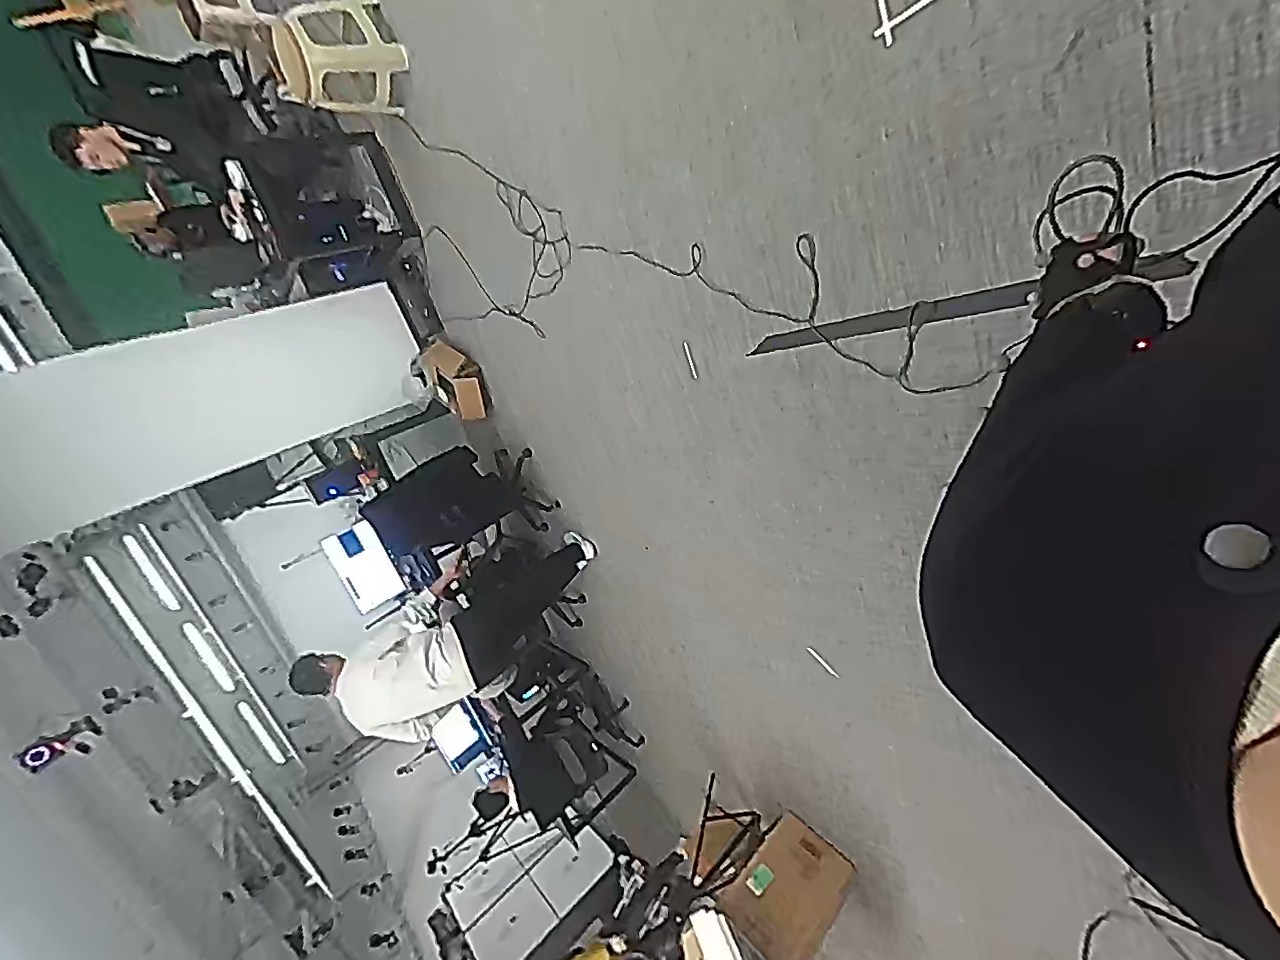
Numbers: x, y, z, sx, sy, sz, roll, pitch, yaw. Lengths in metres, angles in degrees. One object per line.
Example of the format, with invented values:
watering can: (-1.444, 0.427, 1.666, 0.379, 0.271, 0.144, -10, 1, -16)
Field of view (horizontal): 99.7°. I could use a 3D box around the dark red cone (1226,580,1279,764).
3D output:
dark red cone: (1.133, 0.344, 0.923, 0.202, 0.394, 0.201, -9, 107, 56)
